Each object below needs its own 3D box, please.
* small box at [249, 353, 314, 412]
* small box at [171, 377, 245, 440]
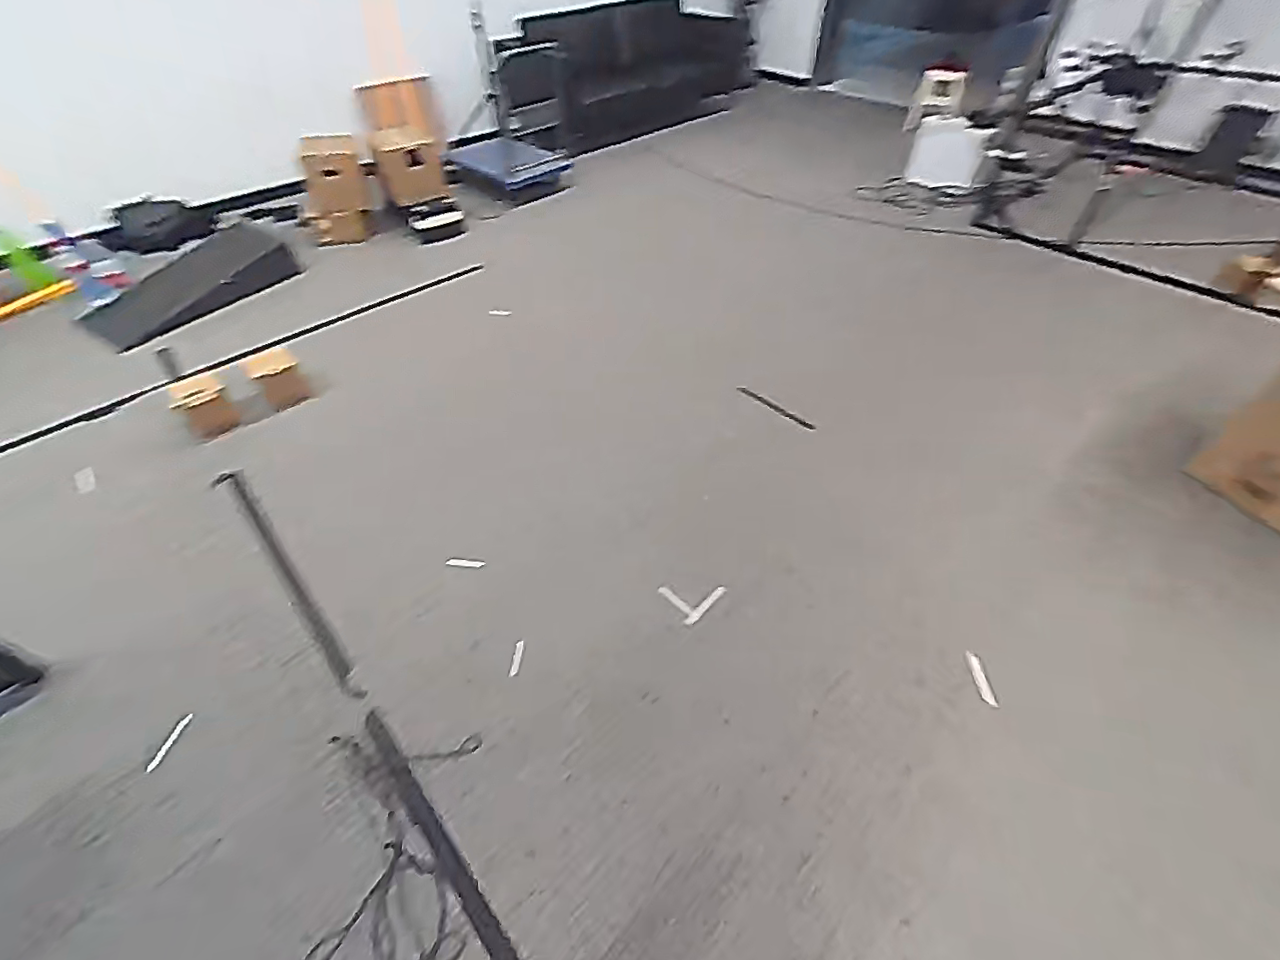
[{"bbox_3d":[-1.552,-0.418,2.348,0.168,0.176,0.179,-29,53,-25],"label":"small box"},{"bbox_3d":[-1.766,-0.285,2.219,0.168,0.176,0.179,-32,54,-27],"label":"small box"}]
